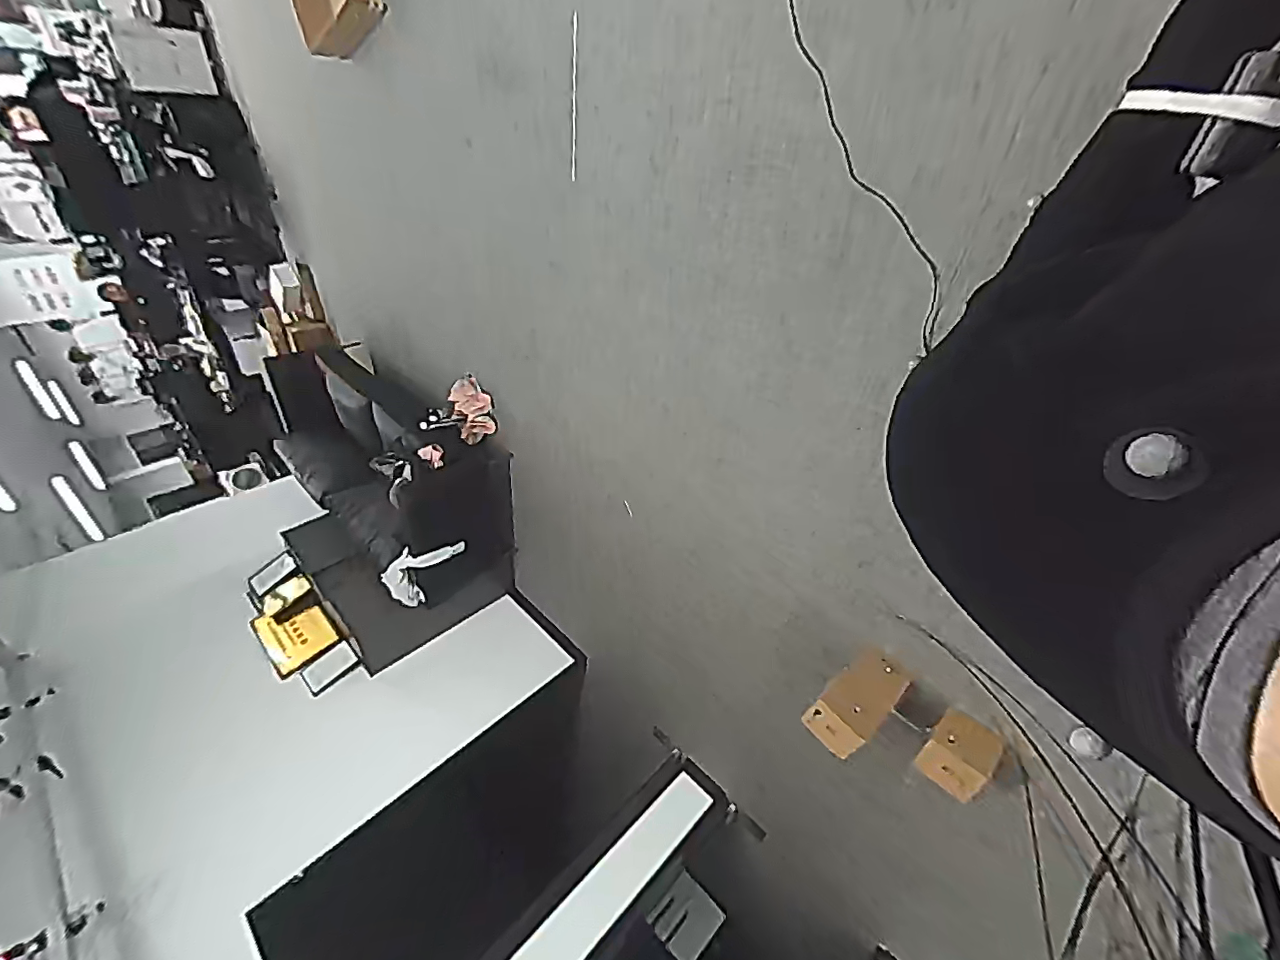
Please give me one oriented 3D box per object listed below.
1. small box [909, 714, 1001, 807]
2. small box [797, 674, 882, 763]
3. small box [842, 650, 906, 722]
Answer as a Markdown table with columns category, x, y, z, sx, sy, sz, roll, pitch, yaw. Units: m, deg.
| category | x | y | z | sx | sy | sz | roll | pitch | yaw |
| --- | --- | --- | --- | --- | --- | --- | --- | --- | --- |
| small box | 1.000 | 0.879 | 1.717 | 0.179 | 0.176 | 0.168 | 33 | 134 | 31 |
| small box | 0.659 | 0.778 | 1.776 | 0.179 | 0.176 | 0.168 | 41 | 137 | 24 |
| small box | 0.784 | 0.728 | 1.873 | 0.168 | 0.176 | 0.179 | 41 | 137 | 24 |
